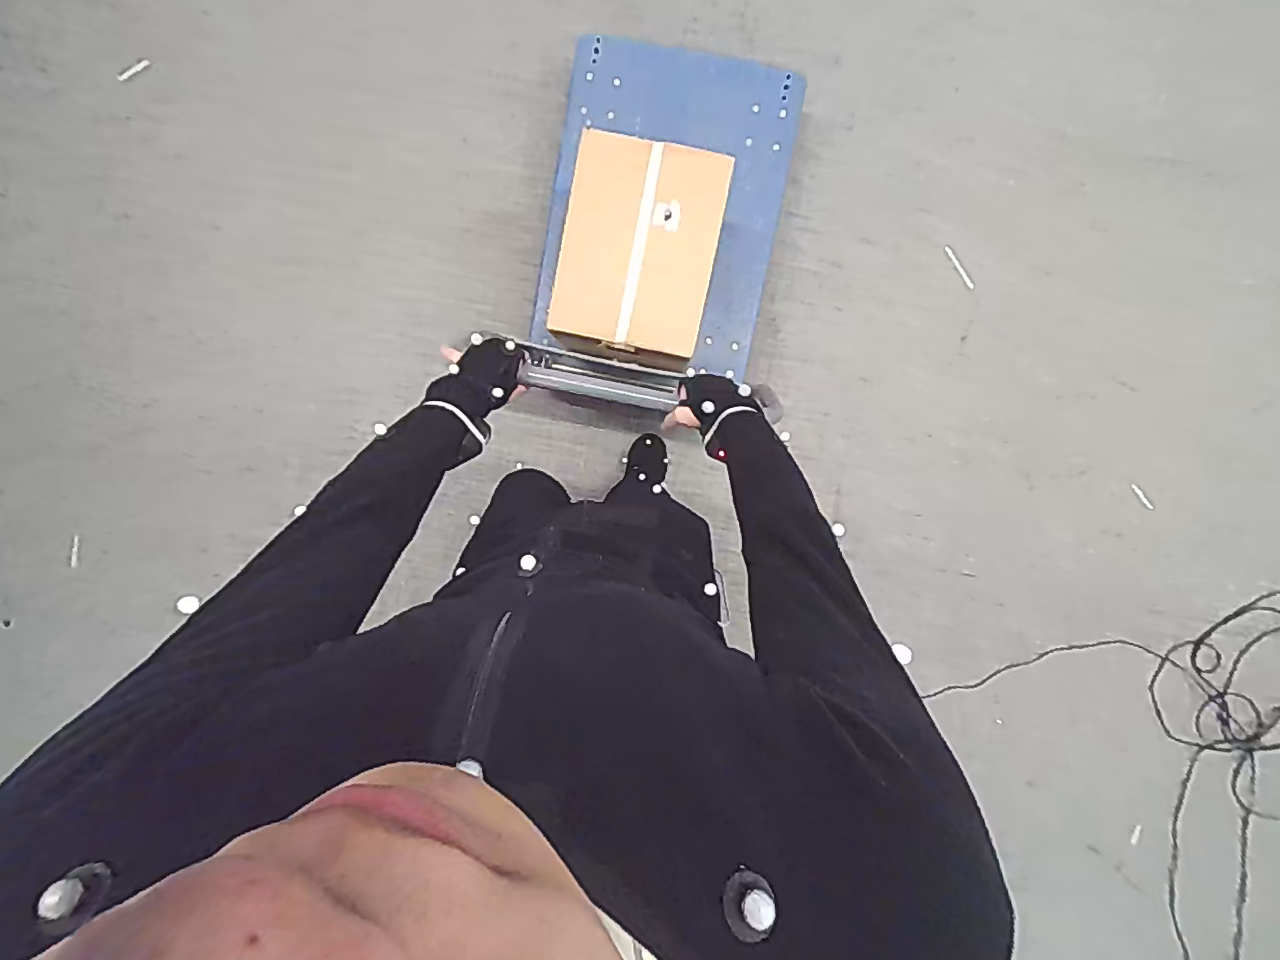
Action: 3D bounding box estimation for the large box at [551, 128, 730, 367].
[{"bbox_3d":[0.002,-0.502,1.254,0.320,0.320,0.408,12,95,0],"label":"large box"}]
